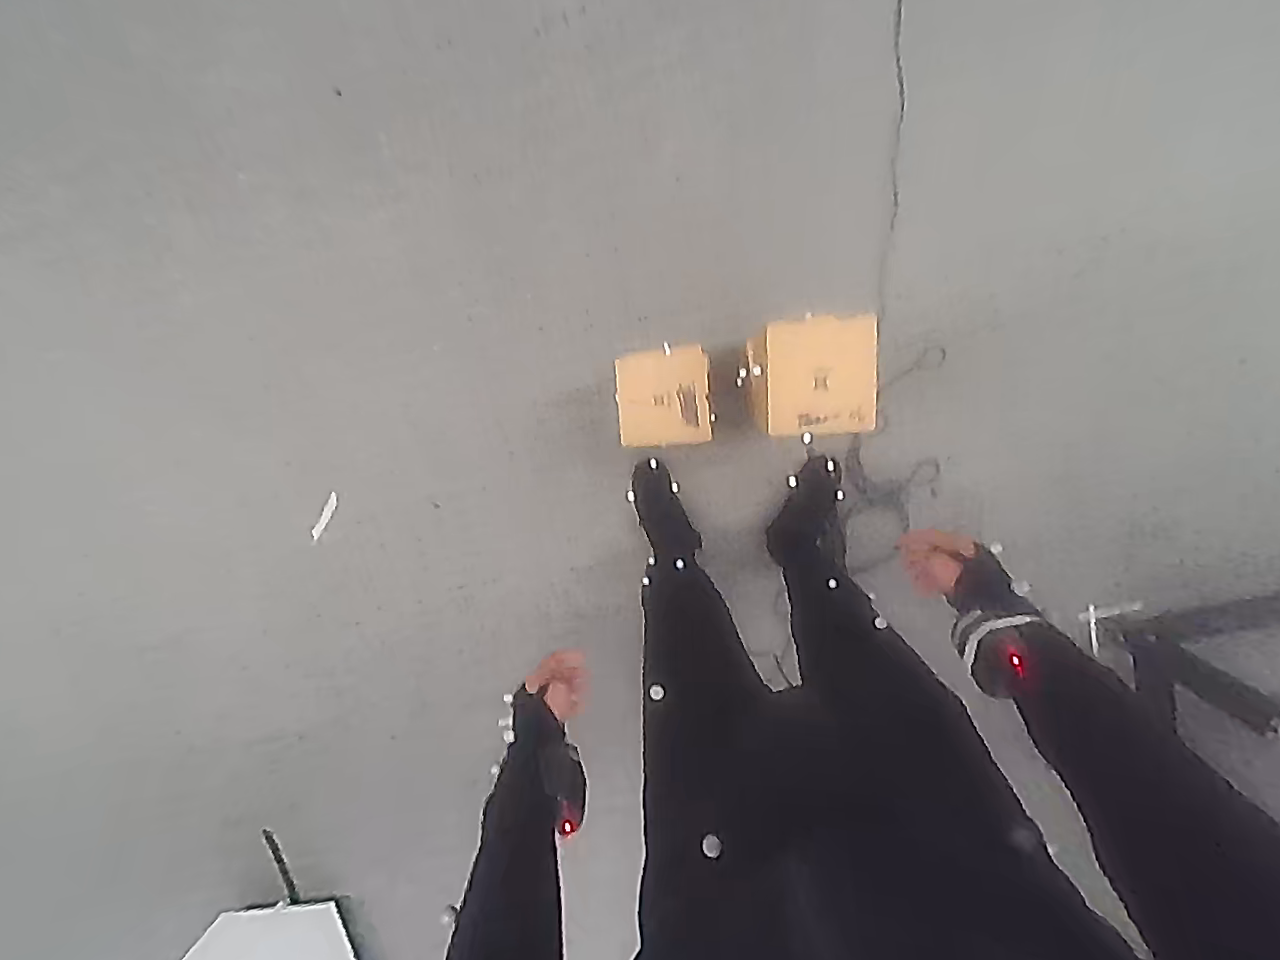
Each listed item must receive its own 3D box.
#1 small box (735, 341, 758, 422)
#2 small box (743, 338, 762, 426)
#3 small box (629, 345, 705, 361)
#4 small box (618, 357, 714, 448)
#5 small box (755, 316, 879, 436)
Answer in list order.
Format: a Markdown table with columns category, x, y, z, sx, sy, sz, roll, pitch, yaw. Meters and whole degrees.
| category | x | y | z | sx | sy | sz | roll | pitch | yaw |
| --- | --- | --- | --- | --- | --- | --- | --- | --- | --- |
| small box | 0.315 | -0.238 | 1.223 | 0.168 | 0.176 | 0.179 | -11 | 101 | 8 |
| small box | 0.303 | -0.205 | 1.065 | 0.179 | 0.176 | 0.168 | -10 | 100 | 7 |
| small box | 0.072 | -0.209 | 1.246 | 0.168 | 0.176 | 0.179 | -7 | 101 | 7 |
| small box | 0.055 | -0.161 | 1.089 | 0.179 | 0.176 | 0.168 | -3 | 101 | 6 |
| small box | 0.287 | -0.170 | 0.905 | 0.168 | 0.176 | 0.179 | -3 | 100 | 6 |
